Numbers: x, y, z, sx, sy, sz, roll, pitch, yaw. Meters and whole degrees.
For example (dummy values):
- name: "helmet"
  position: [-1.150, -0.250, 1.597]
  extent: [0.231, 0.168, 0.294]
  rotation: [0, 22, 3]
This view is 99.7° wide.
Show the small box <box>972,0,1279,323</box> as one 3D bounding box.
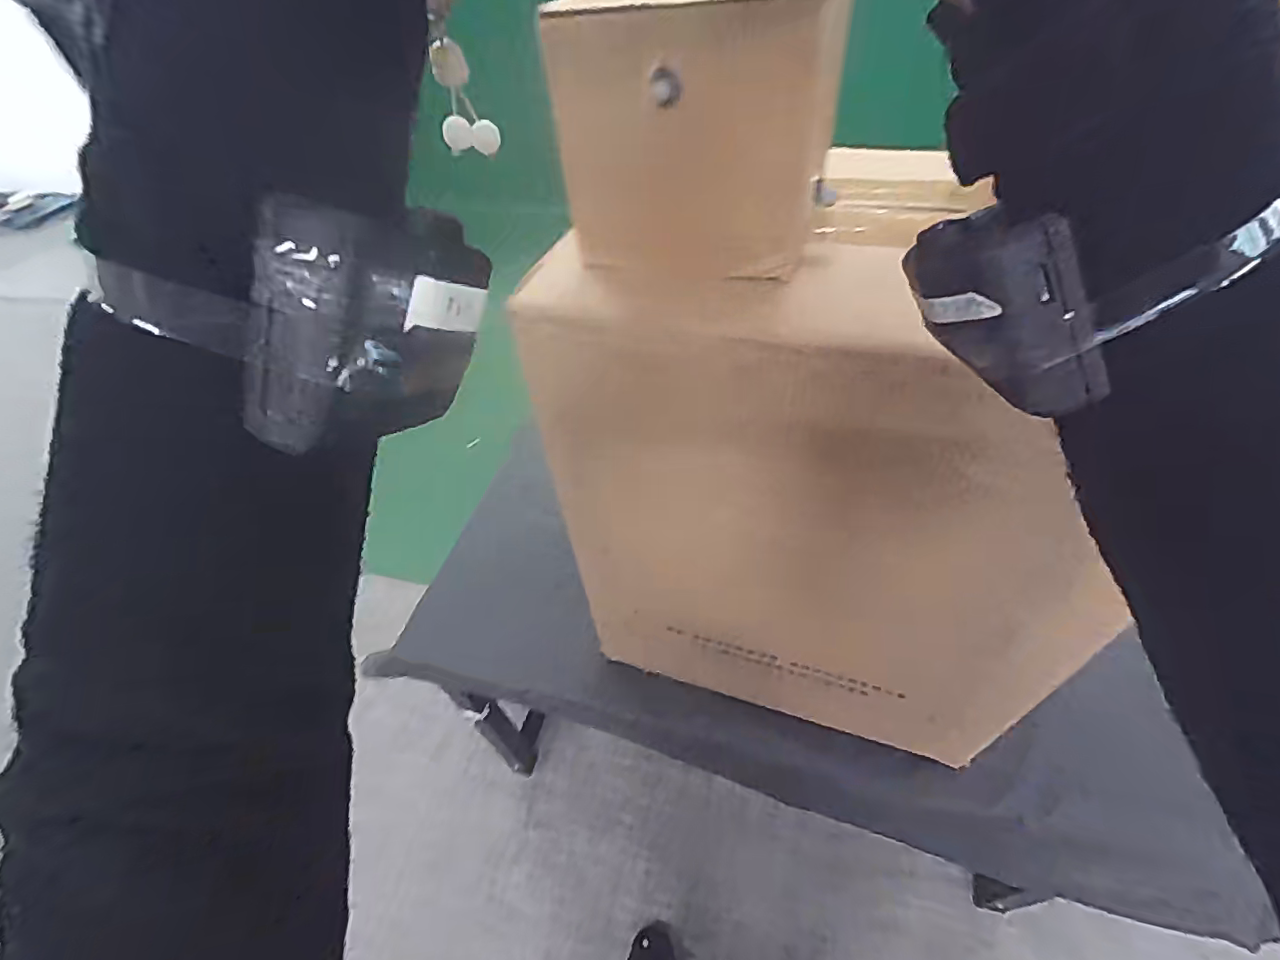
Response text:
- name: "small box"
  position: [0.332, -0.228, 0.343]
  extent: [0.168, 0.176, 0.179]
  rotation: [13, 53, 15]

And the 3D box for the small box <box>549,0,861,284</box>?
- name: "small box"
  position: [0.057, -0.271, 0.414]
  extent: [0.179, 0.176, 0.168]
  rotation: [13, 53, 15]
